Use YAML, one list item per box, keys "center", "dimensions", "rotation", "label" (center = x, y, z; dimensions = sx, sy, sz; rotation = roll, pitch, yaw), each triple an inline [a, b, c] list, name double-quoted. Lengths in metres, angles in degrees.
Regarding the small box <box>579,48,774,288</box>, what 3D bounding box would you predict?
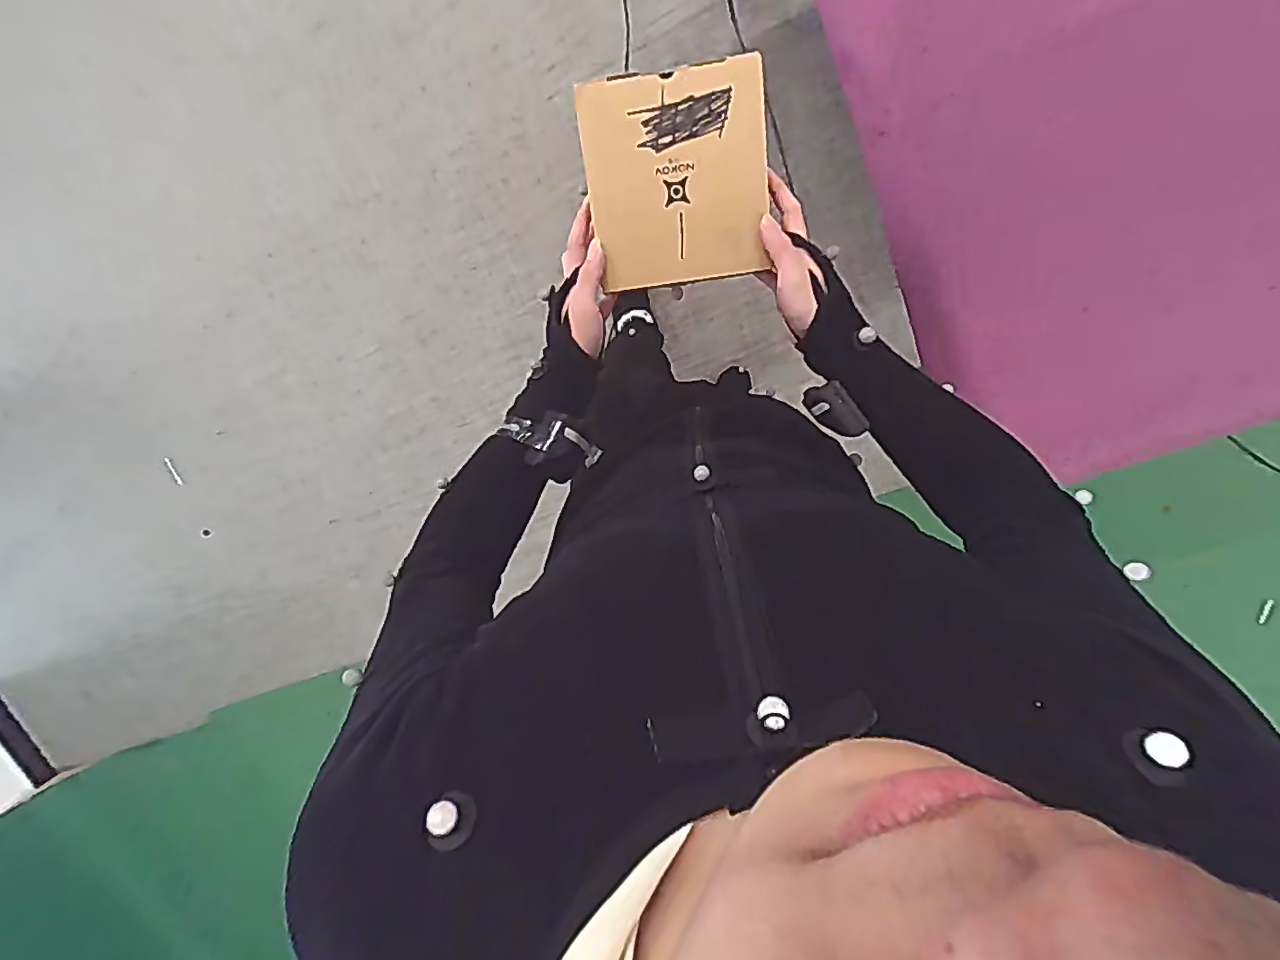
- center: [0.038, -0.301, 0.562]
  dimensions: [0.168, 0.176, 0.179]
  rotation: [-6, 110, 5]
  label: "small box"
